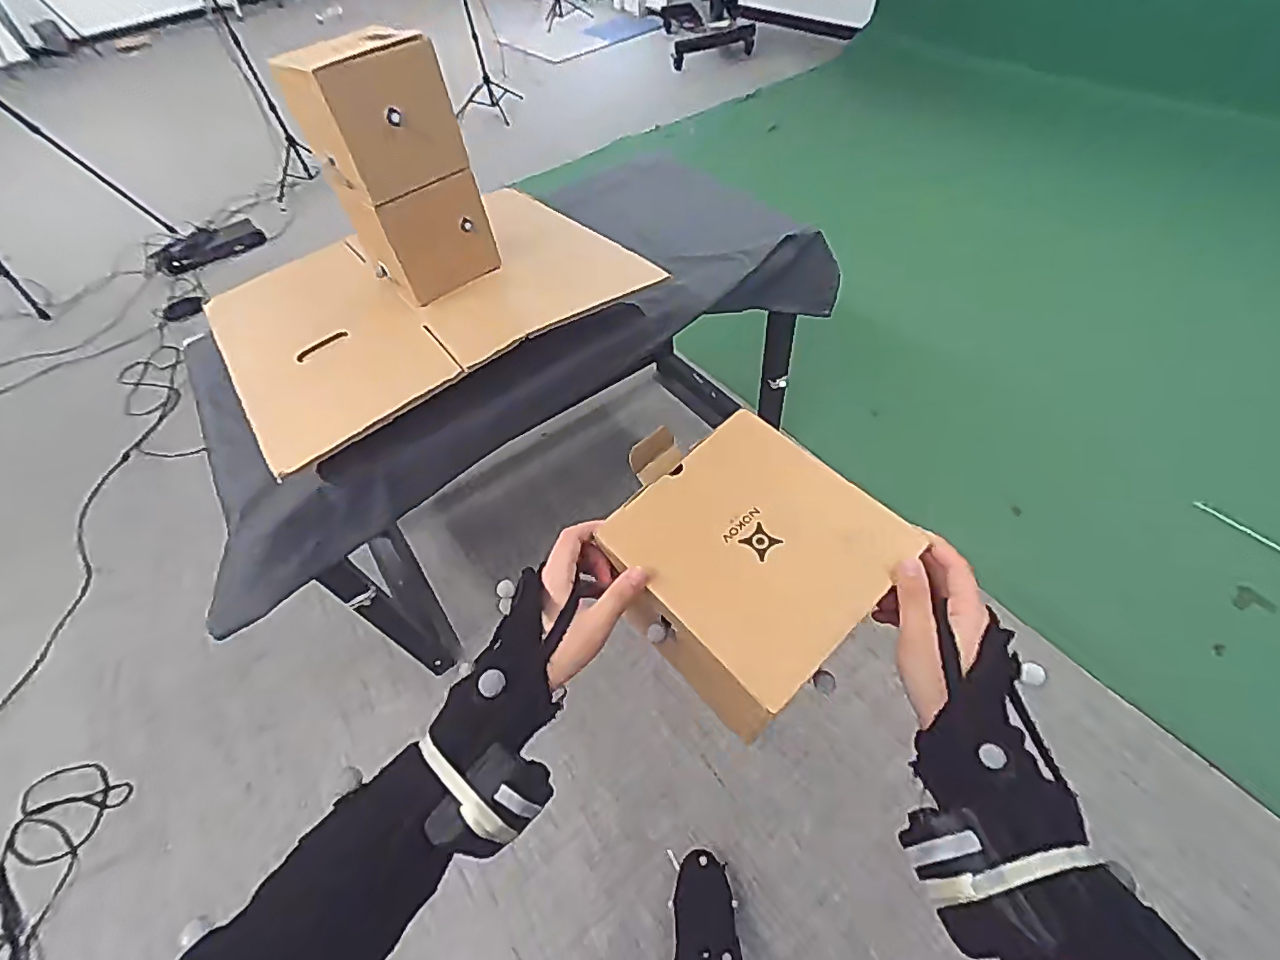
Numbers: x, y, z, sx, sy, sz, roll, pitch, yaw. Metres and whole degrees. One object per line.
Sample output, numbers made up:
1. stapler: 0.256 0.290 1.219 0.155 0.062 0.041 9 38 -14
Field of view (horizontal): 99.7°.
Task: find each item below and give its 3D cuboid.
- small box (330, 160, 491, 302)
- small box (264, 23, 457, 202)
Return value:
1. small box: -0.378 -0.438 0.926 0.179 0.176 0.168 -40 56 -22
2. small box: -0.397 -0.545 0.802 0.168 0.176 0.179 34 63 31
